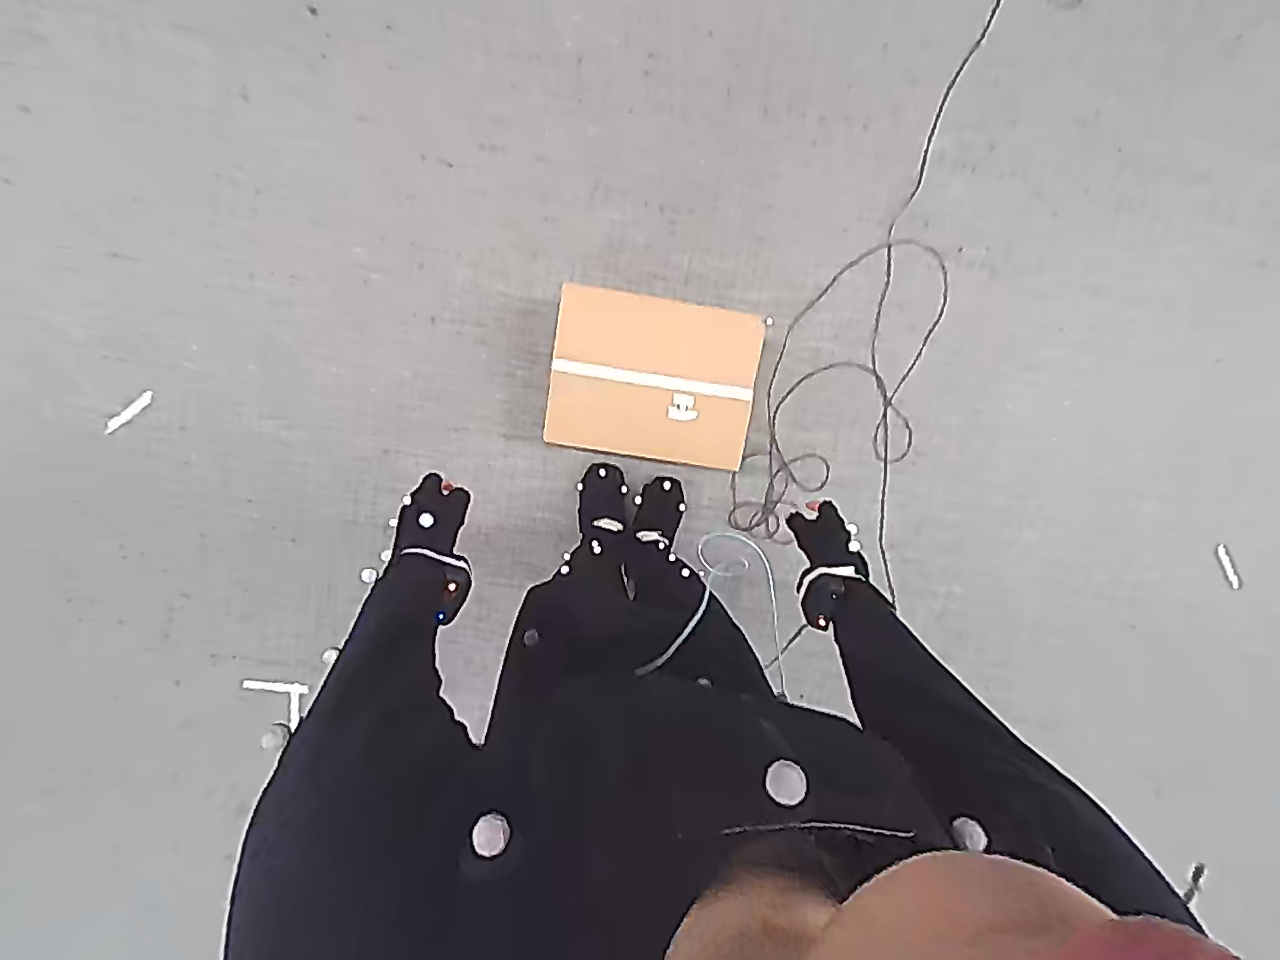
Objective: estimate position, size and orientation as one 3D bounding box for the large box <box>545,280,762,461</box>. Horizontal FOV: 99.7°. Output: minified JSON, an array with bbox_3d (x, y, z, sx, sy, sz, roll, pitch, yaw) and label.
[{"bbox_3d":[0.016,-0.236,1.227,0.408,0.320,0.320,9,99,-4],"label":"large box"}]
